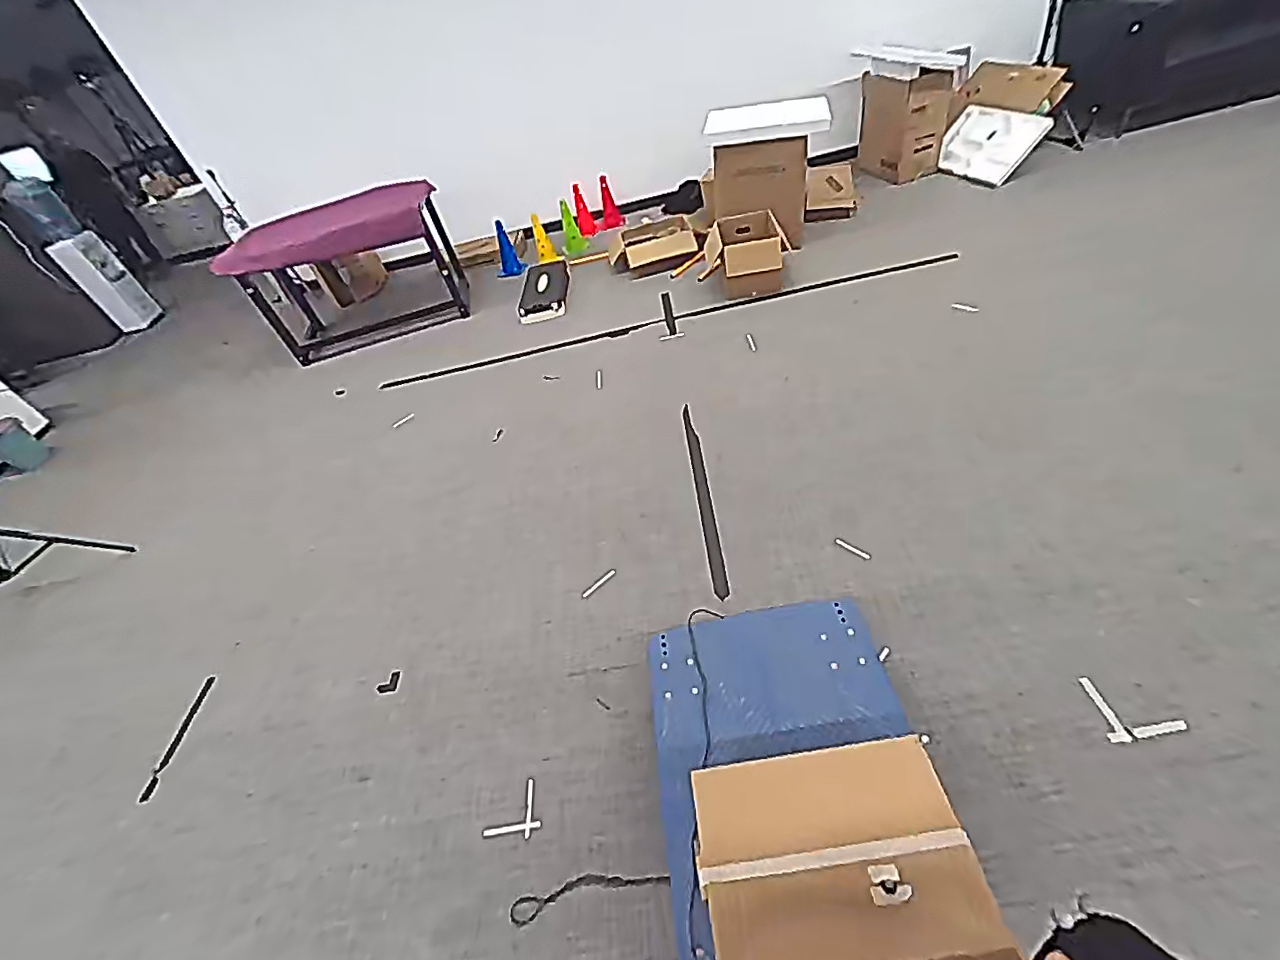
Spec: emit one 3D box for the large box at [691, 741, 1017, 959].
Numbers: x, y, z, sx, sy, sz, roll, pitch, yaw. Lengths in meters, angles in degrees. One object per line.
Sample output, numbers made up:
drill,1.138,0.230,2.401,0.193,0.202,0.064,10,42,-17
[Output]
large box,0.324,0.699,0.928,0.408,0.320,0.320,-11,42,4
